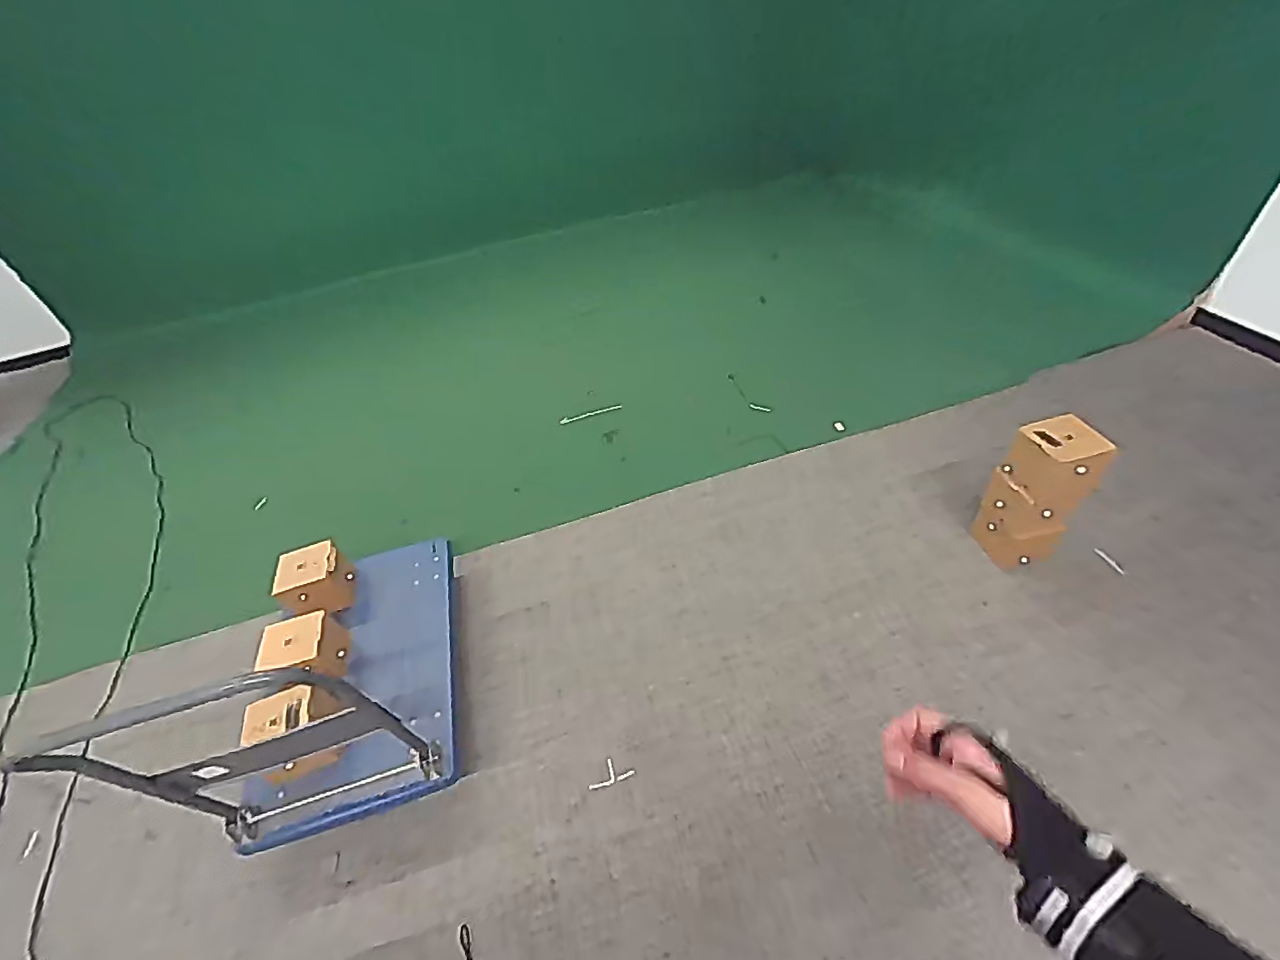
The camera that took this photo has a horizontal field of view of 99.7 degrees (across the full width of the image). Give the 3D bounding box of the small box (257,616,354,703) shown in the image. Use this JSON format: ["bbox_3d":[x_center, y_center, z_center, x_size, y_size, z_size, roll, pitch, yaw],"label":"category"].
[{"bbox_3d":[-0.999,0.544,1.629,0.179,0.176,0.168,-15,45,-7],"label":"small box"}]

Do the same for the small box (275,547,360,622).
[{"bbox_3d":[-1.080,0.359,1.823,0.179,0.176,0.168,-17,46,-7],"label":"small box"}]

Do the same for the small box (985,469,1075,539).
[{"bbox_3d":[1.234,0.063,1.715,0.179,0.176,0.168,-15,44,-2],"label":"small box"}]

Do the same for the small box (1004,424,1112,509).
[{"bbox_3d":[1.224,-0.037,1.605,0.179,0.176,0.168,-14,45,-3],"label":"small box"}]

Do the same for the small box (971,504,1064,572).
[{"bbox_3d":[1.262,0.180,1.825,0.168,0.176,0.179,-14,44,-2],"label":"small box"}]
